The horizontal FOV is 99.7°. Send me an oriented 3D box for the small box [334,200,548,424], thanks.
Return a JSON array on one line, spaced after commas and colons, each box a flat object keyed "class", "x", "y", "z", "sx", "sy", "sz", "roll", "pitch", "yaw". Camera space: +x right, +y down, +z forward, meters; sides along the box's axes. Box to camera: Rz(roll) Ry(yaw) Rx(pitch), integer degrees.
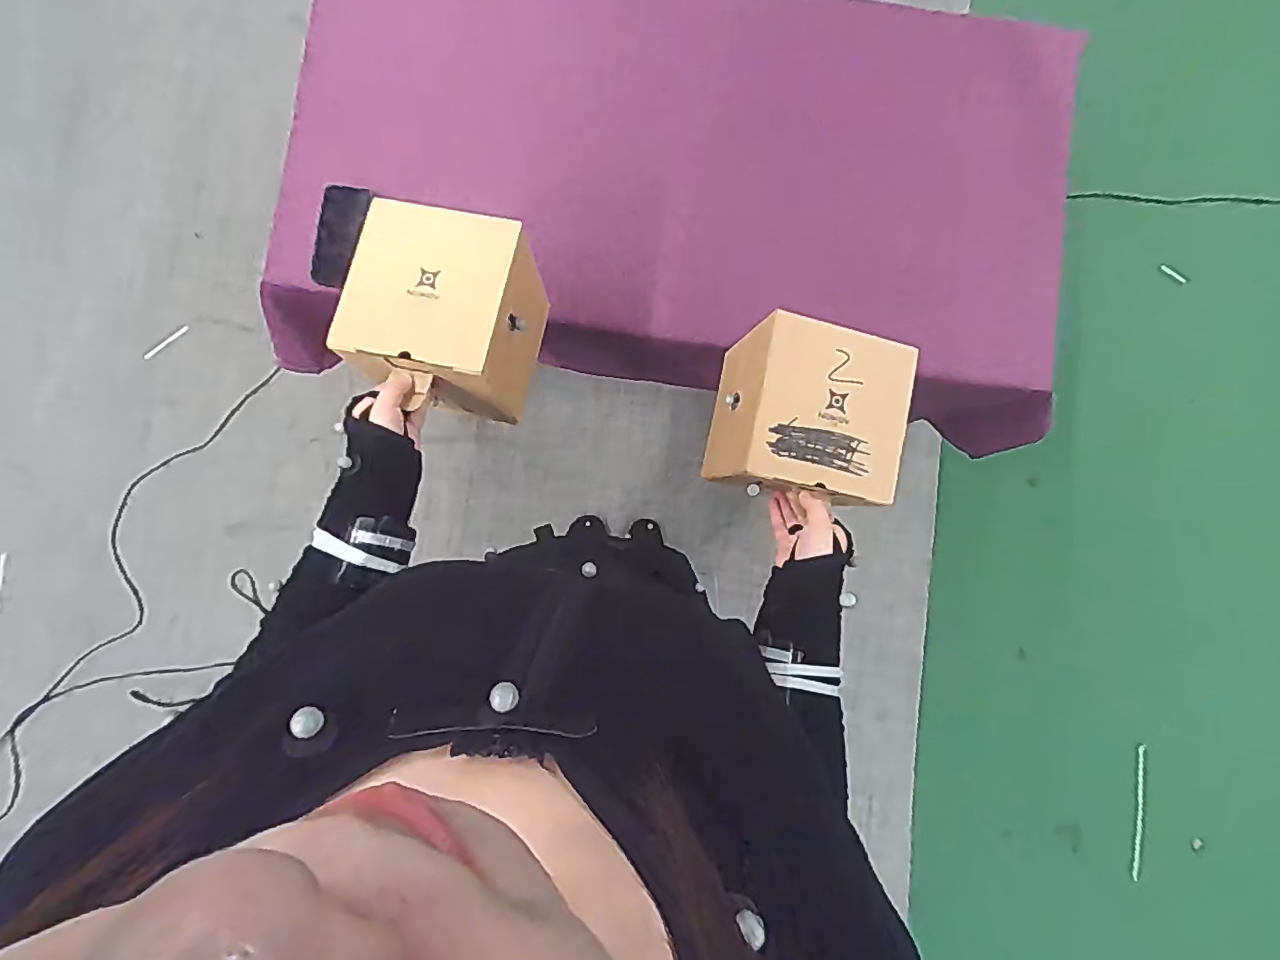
[{"class": "small box", "x": -0.213, "y": -0.184, "z": 0.635, "sx": 0.168, "sy": 0.176, "sz": 0.179, "roll": 11, "pitch": 79, "yaw": 2}]
